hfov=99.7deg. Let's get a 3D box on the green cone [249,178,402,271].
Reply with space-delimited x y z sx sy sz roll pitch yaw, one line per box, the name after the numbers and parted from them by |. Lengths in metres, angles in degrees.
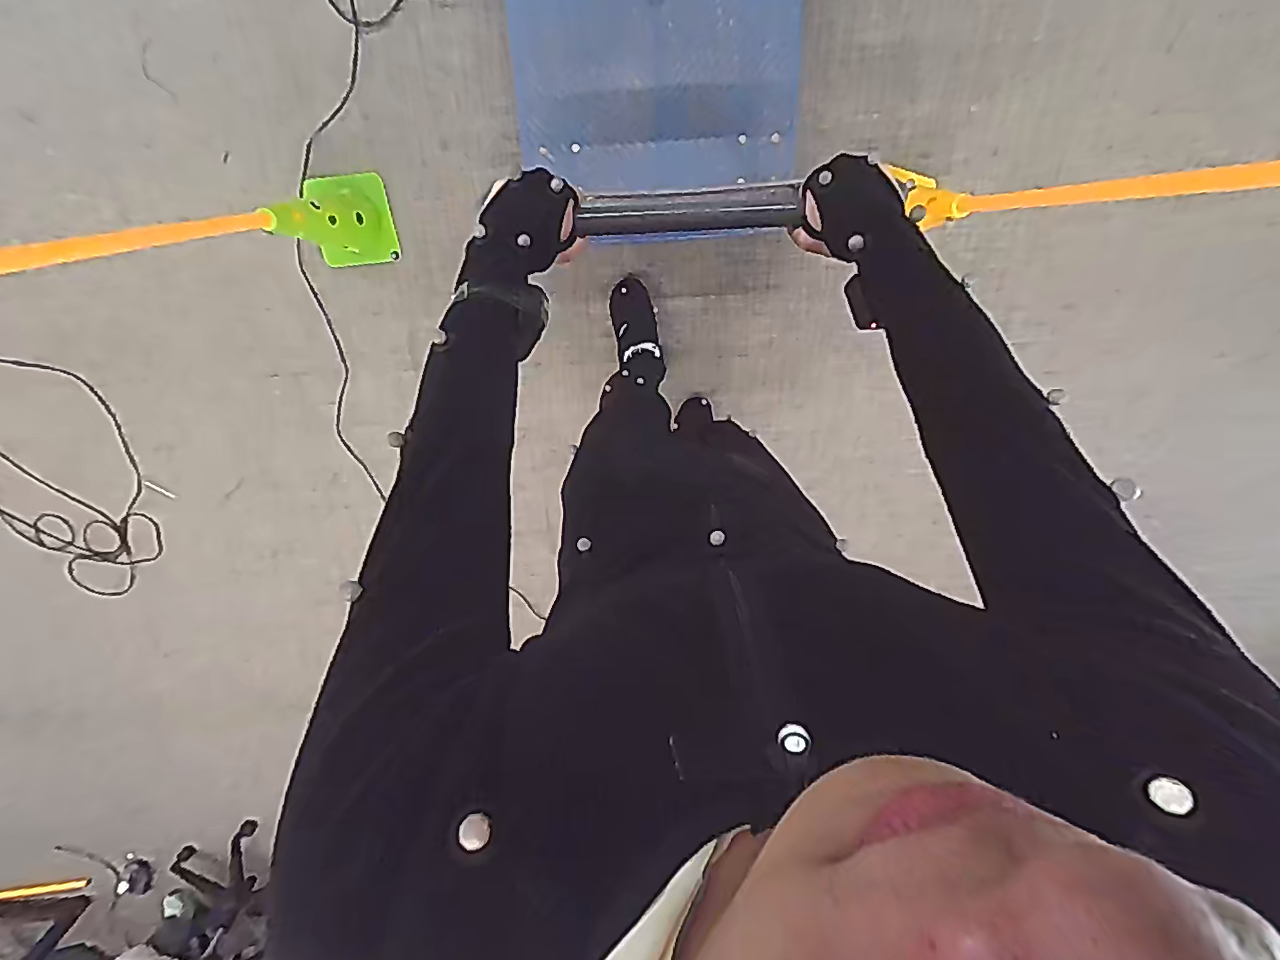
-0.720 -0.568 1.198 0.202 0.368 0.200 -5 114 4 | green cone
